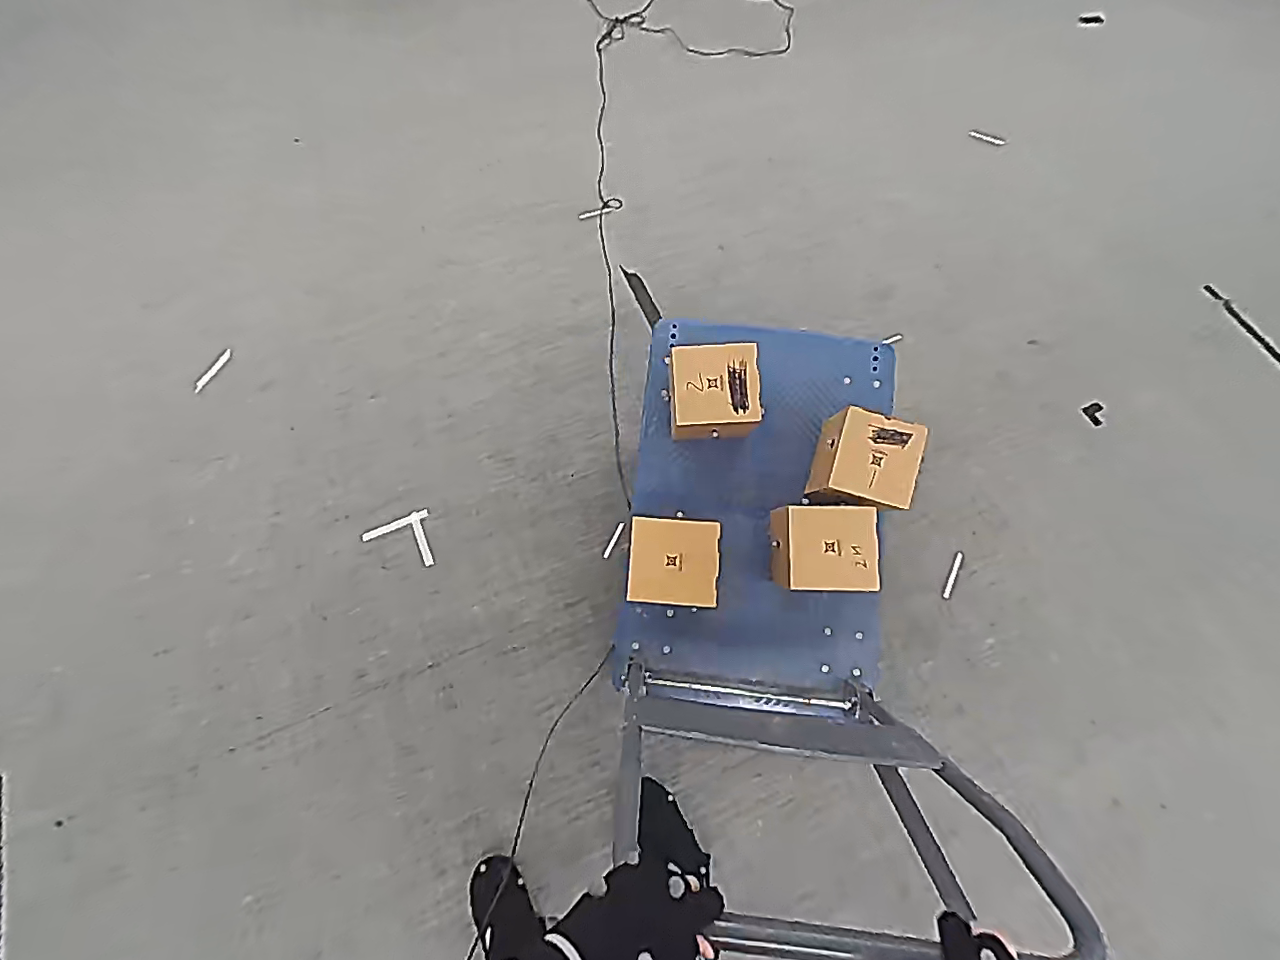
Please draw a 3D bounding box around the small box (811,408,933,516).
[{"bbox_3d":[0.481,-0.031,1.147,0.168,0.176,0.179,17,85,4],"label":"small box"}]

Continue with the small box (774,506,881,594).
[{"bbox_3d":[0.381,0.145,1.128,0.179,0.176,0.168,2,84,2],"label":"small box"}]

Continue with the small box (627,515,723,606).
[{"bbox_3d":[0.069,0.167,1.133,0.179,0.176,0.168,5,83,0],"label":"small box"}]
